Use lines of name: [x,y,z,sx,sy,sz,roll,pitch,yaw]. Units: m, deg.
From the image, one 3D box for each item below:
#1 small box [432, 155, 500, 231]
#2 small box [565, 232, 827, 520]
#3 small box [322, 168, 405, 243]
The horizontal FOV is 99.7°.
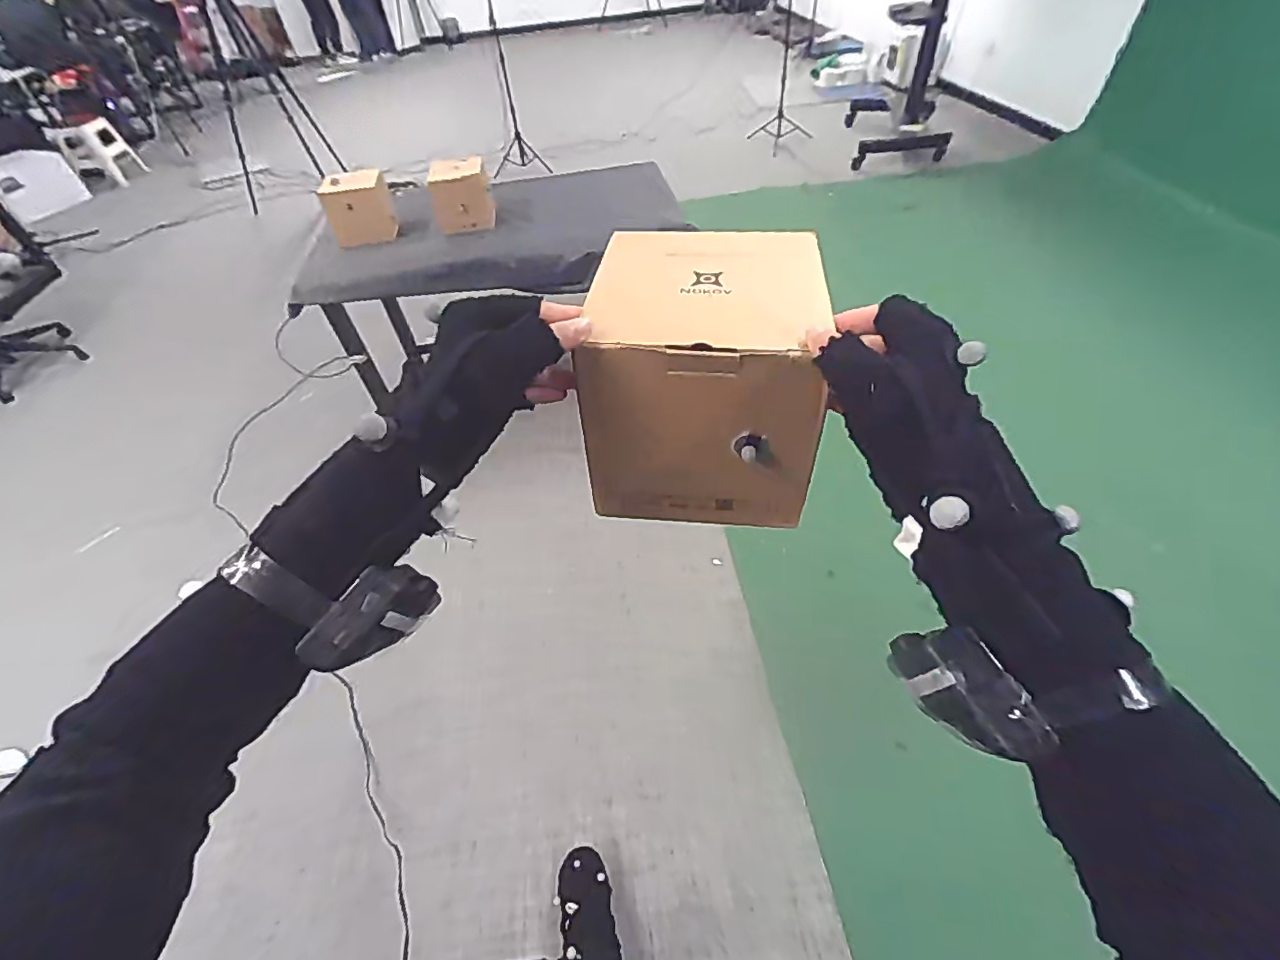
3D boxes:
small box: [-0.563,-0.933,1.769,0.168,0.176,0.179,-9,48,-3]
small box: [0.047,-0.086,0.445,0.168,0.176,0.179,5,45,6]
small box: [-0.891,-0.887,1.756,0.179,0.176,0.168,-10,48,-5]
